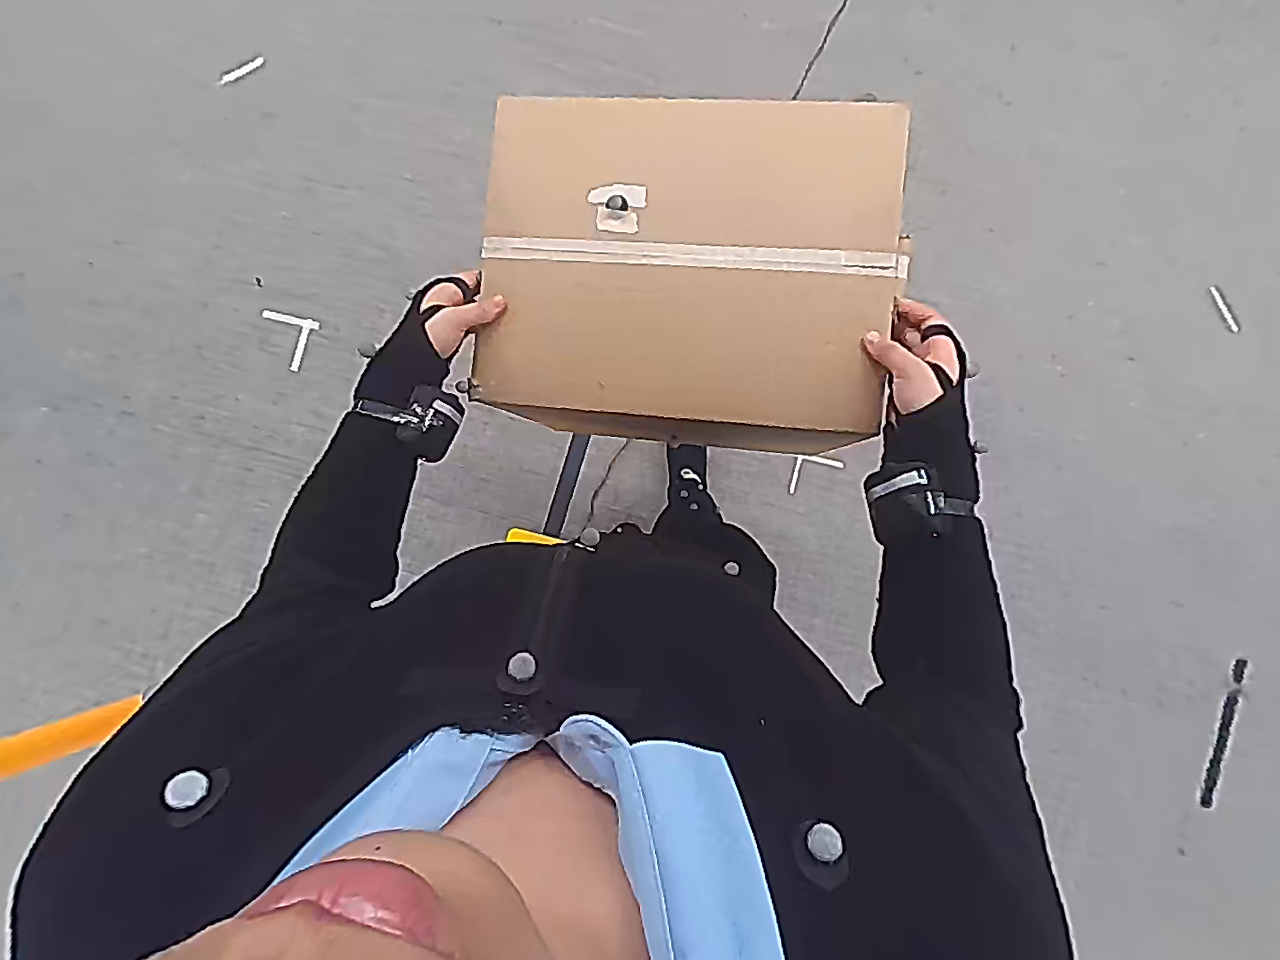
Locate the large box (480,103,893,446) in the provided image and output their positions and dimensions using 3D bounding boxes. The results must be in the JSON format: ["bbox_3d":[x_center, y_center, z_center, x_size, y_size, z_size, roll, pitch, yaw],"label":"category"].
[{"bbox_3d":[0.061,-0.217,0.688,0.408,0.320,0.320,5,87,8],"label":"large box"}]
